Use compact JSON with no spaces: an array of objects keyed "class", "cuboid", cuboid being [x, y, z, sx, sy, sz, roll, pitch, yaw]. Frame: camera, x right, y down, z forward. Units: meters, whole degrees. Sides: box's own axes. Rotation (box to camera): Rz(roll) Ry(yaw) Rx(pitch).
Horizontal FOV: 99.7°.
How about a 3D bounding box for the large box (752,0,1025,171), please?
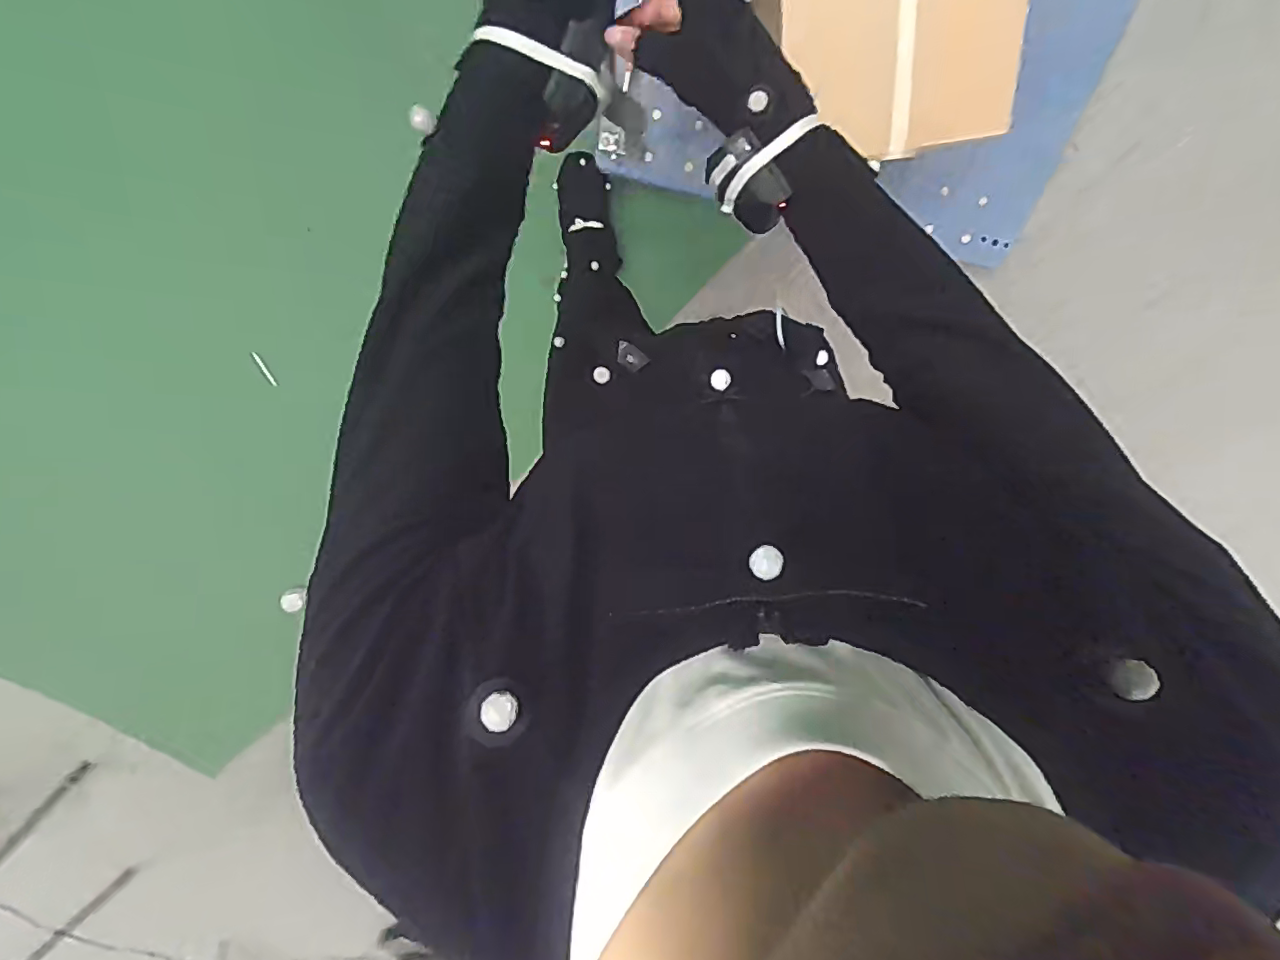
[{"class":"large box","cuboid":[0.341,-0.719,0.810,0.320,0.320,0.408,-5,116,4]}]
